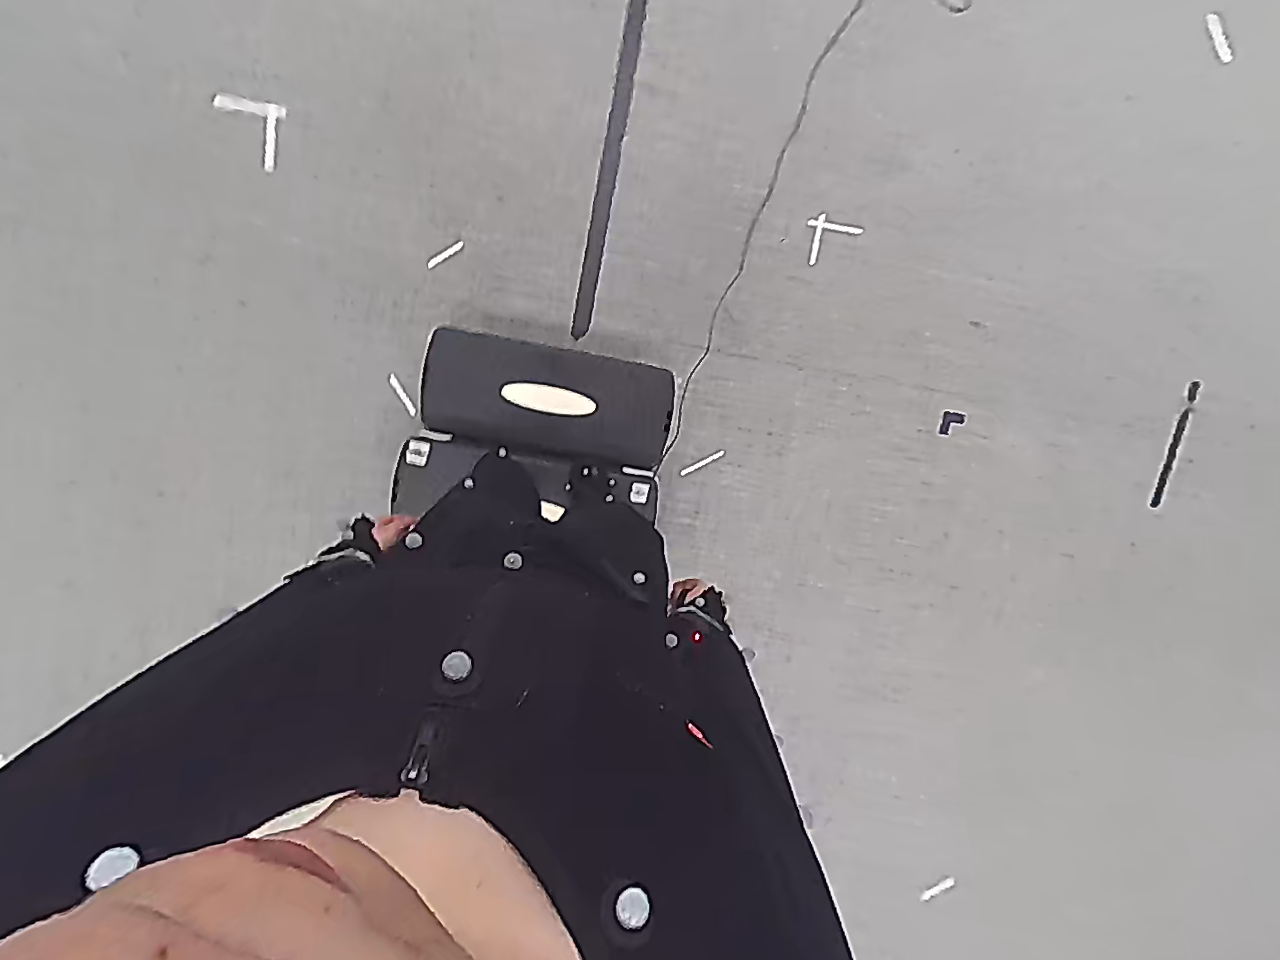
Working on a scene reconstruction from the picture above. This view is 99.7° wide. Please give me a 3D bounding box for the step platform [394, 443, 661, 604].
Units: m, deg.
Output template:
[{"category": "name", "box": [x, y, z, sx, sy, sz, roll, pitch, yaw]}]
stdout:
[{"category": "step platform", "box": [-0.288, 0.115, 1.460, 0.684, 0.204, 0.286, 14, 95, -4]}]
